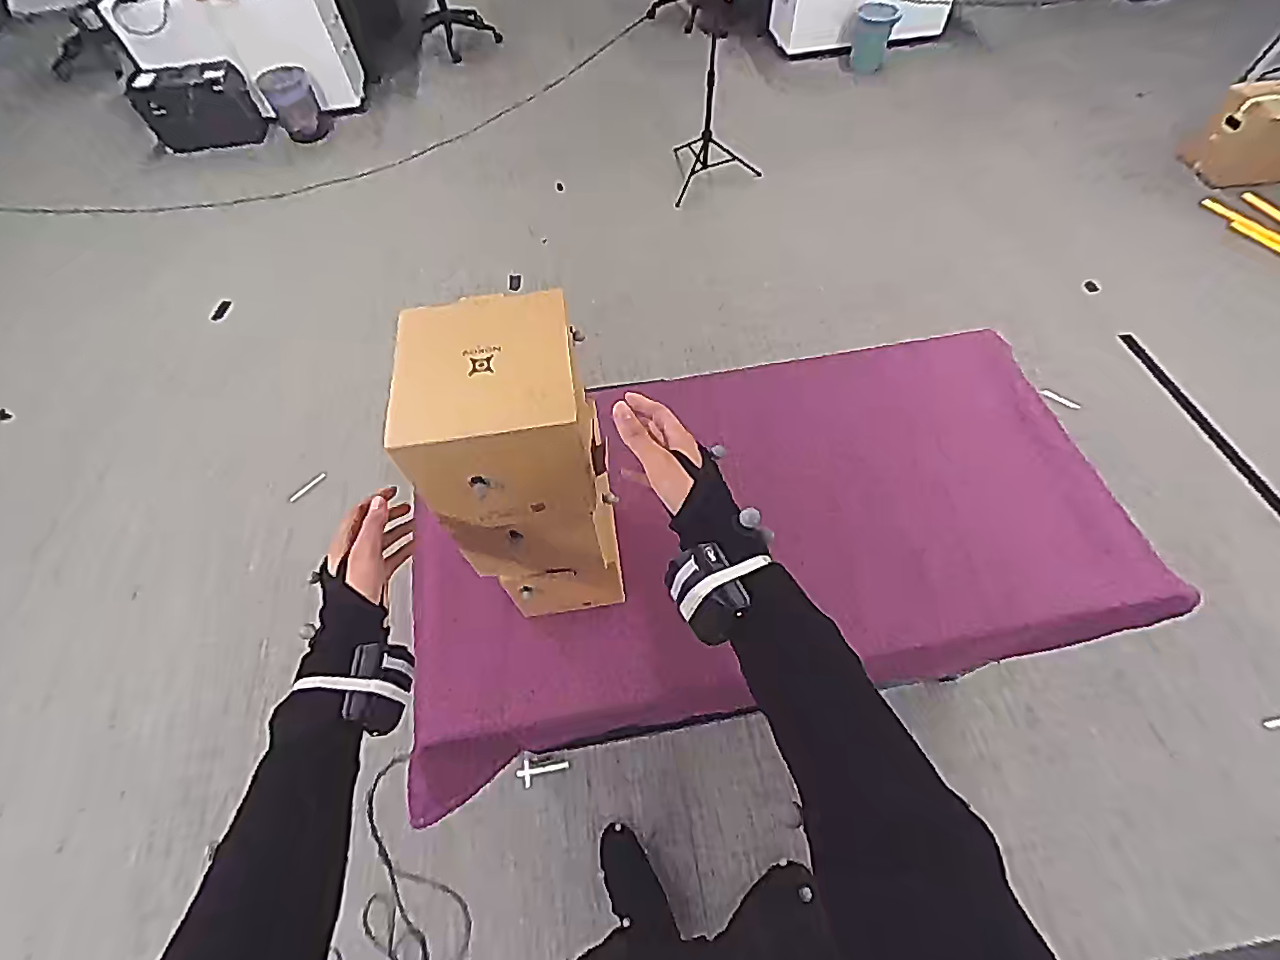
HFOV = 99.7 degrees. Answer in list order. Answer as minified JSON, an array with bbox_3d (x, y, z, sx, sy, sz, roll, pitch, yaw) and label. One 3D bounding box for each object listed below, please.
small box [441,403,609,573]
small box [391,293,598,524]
[{"bbox_3d":[-0.137,0.016,0.714,0.179,0.176,0.168,-2,59,1],"label":"small box"},{"bbox_3d":[-0.140,-0.065,0.573,0.168,0.176,0.179,-8,58,-3],"label":"small box"}]
